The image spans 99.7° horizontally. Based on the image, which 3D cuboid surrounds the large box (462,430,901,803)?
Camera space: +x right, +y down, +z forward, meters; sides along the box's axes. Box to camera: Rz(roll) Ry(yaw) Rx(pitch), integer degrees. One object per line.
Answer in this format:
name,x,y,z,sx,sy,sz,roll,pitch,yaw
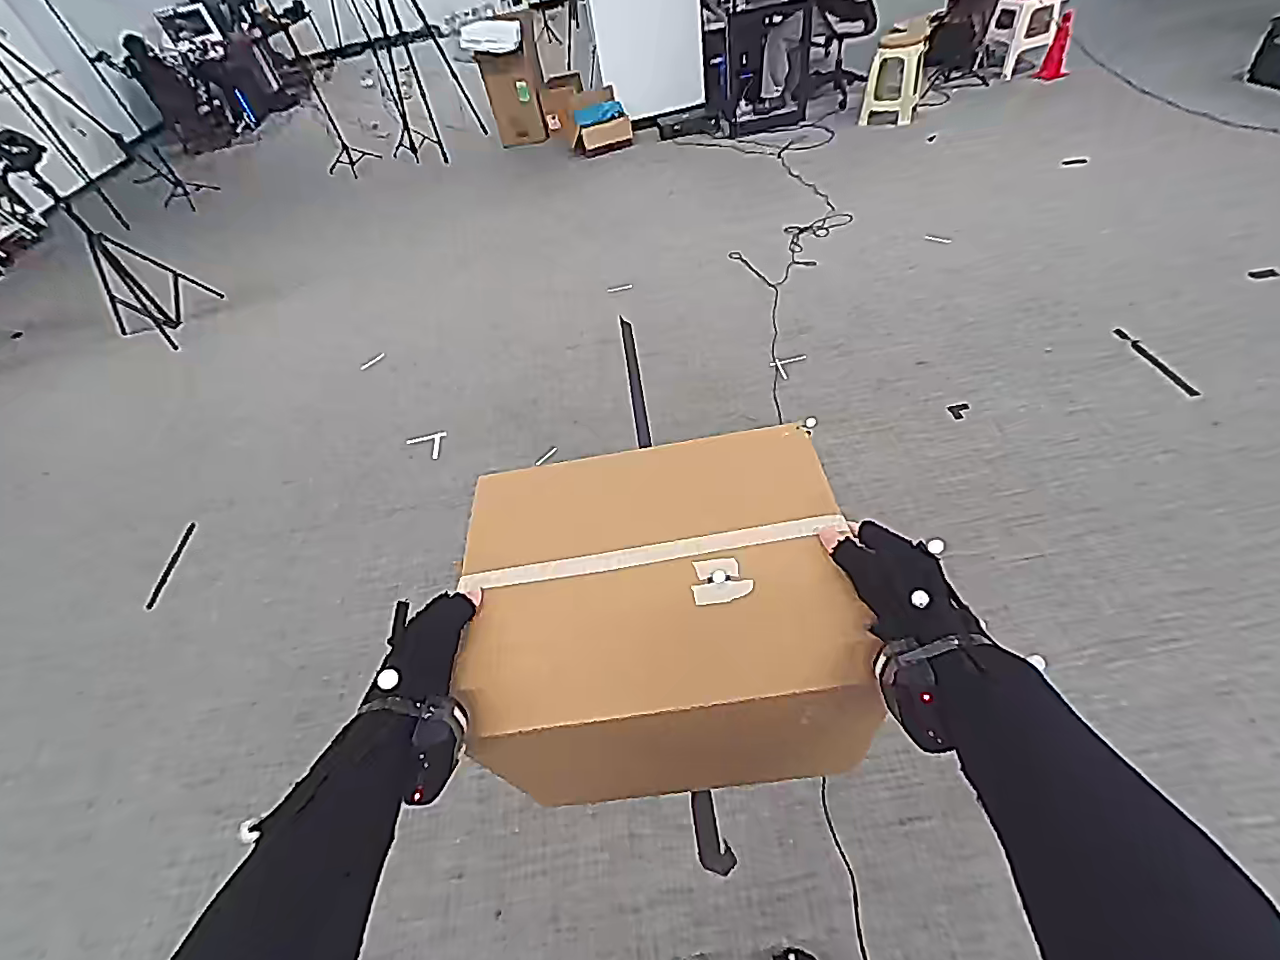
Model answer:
large box,0.040,0.180,0.684,0.408,0.320,0.320,-9,49,3
